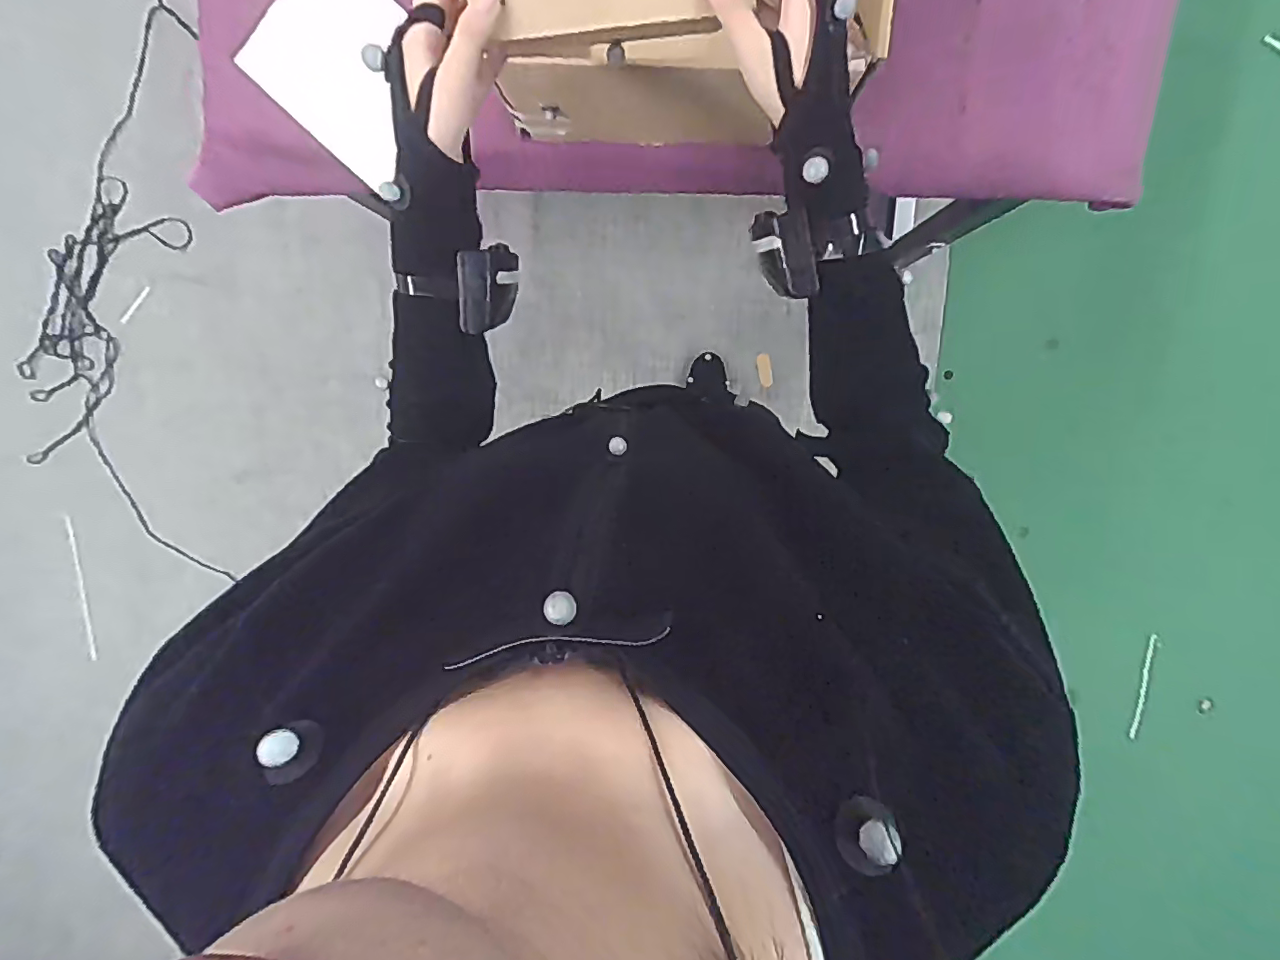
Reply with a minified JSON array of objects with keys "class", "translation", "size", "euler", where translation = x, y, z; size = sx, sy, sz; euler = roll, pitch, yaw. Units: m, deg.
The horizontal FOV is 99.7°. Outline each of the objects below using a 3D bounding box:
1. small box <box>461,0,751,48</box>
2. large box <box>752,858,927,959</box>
[{"class":"small box","translation":[-0.029,-0.390,0.345],"size":[0.179,0.176,0.168],"euler":[-5,125,0]},{"class":"large box","translation":[0.564,1.356,1.533],"size":[0.408,0.320,0.320],"euler":[-12,99,4]}]
